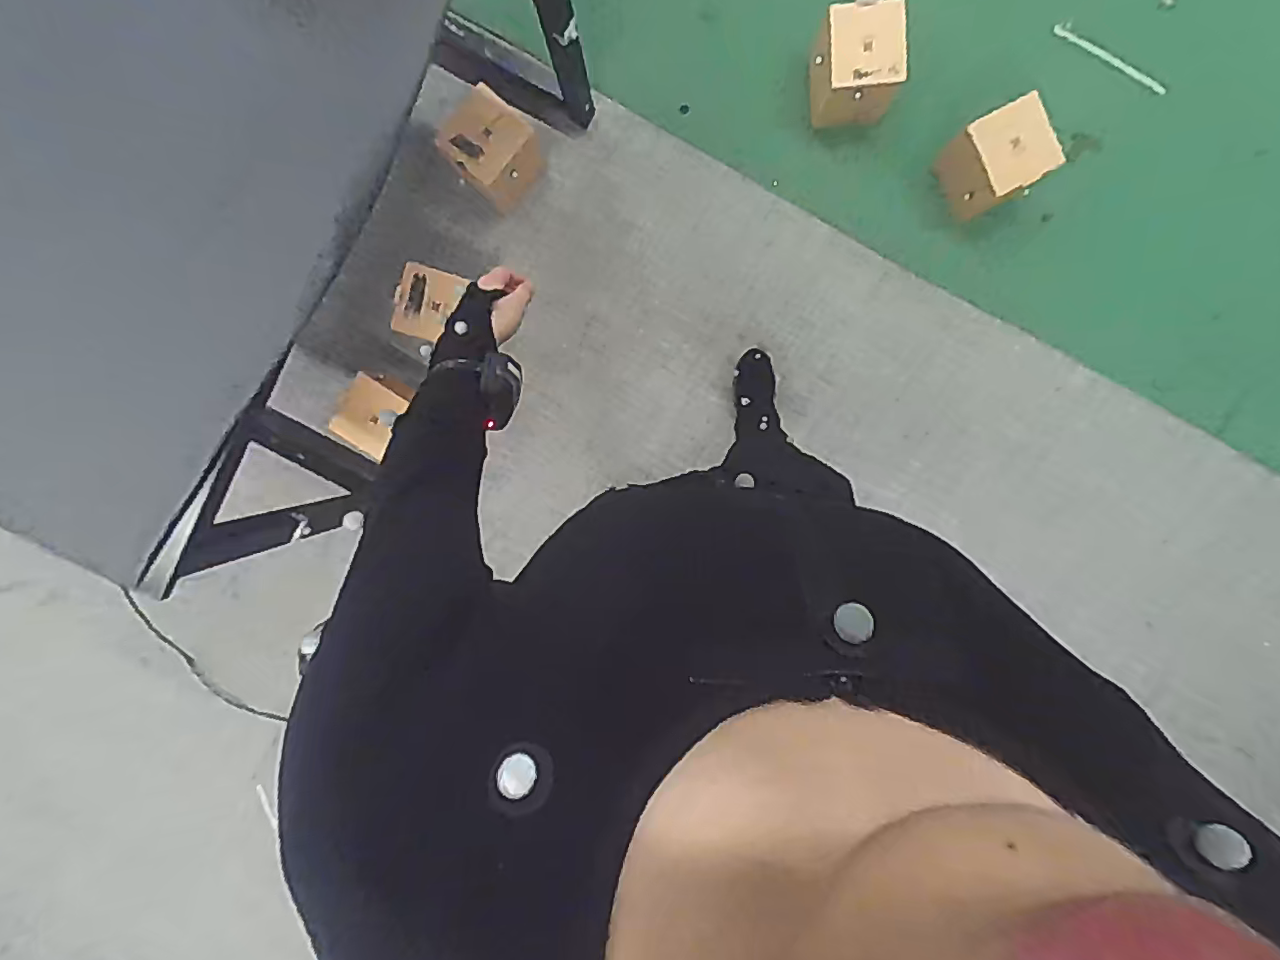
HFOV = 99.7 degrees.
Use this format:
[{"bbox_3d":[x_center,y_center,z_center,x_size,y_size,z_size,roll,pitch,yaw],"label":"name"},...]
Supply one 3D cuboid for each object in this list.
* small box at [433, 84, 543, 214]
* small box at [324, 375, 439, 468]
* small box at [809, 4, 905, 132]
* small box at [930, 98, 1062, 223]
[{"bbox_3d":[-0.358,-0.790,1.314,0.168,0.176,0.179,41,94,-3],"label":"small box"},{"bbox_3d":[-0.652,-0.151,1.388,0.179,0.176,0.168,33,96,-1],"label":"small box"},{"bbox_3d":[0.502,-0.958,1.270,0.168,0.176,0.179,-3,95,2],"label":"small box"},{"bbox_3d":[0.832,-0.738,1.279,0.168,0.176,0.179,-27,93,3],"label":"small box"}]
